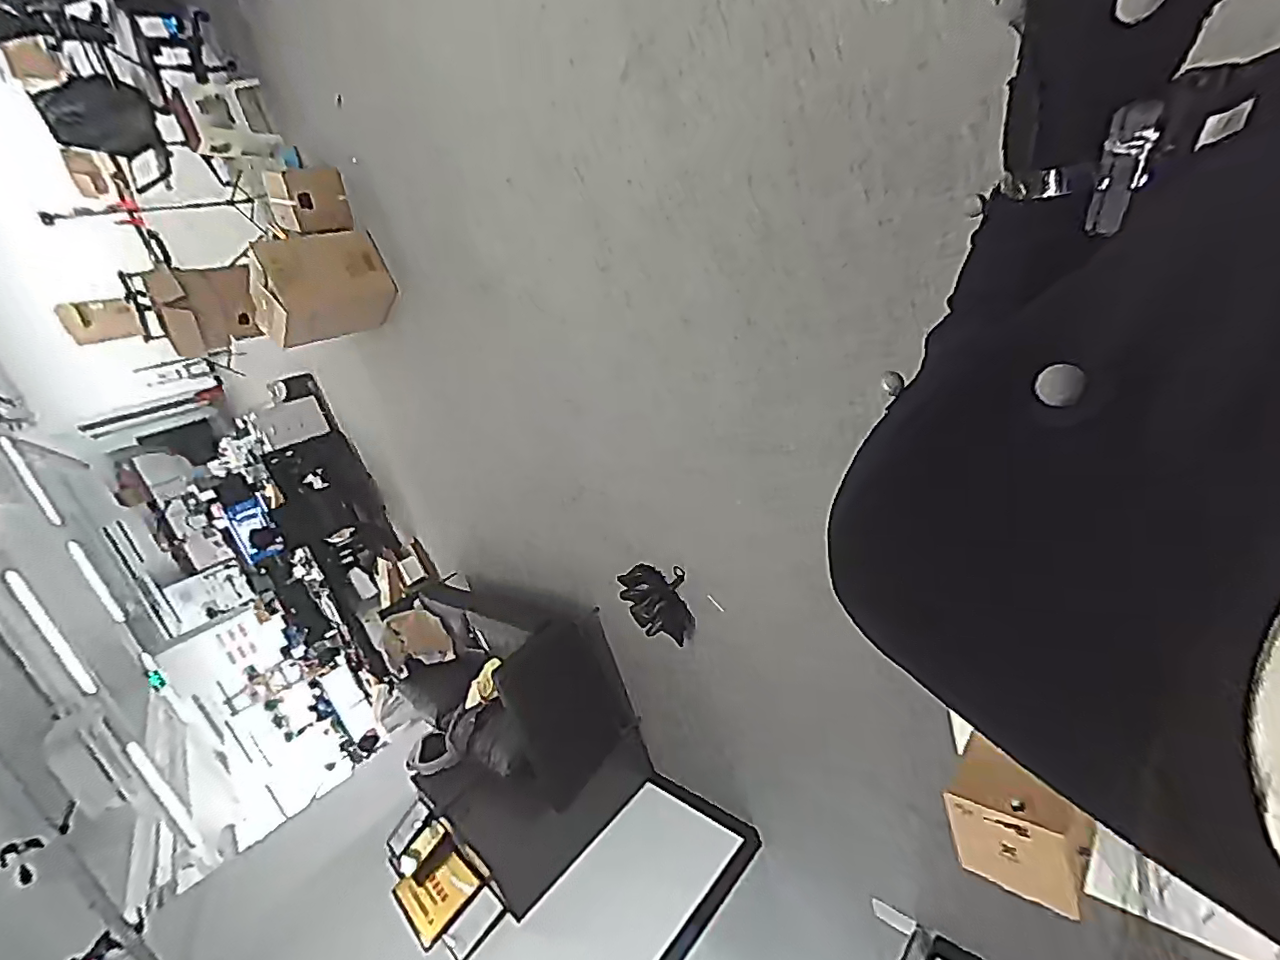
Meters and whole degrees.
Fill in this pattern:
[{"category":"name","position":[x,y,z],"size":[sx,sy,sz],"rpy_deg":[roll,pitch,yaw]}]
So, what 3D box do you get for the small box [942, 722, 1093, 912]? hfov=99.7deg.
[{"category":"small box","position":[0.641,0.554,0.913],"size":[0.168,0.176,0.179],"rpy_deg":[-2,113,49]}]
